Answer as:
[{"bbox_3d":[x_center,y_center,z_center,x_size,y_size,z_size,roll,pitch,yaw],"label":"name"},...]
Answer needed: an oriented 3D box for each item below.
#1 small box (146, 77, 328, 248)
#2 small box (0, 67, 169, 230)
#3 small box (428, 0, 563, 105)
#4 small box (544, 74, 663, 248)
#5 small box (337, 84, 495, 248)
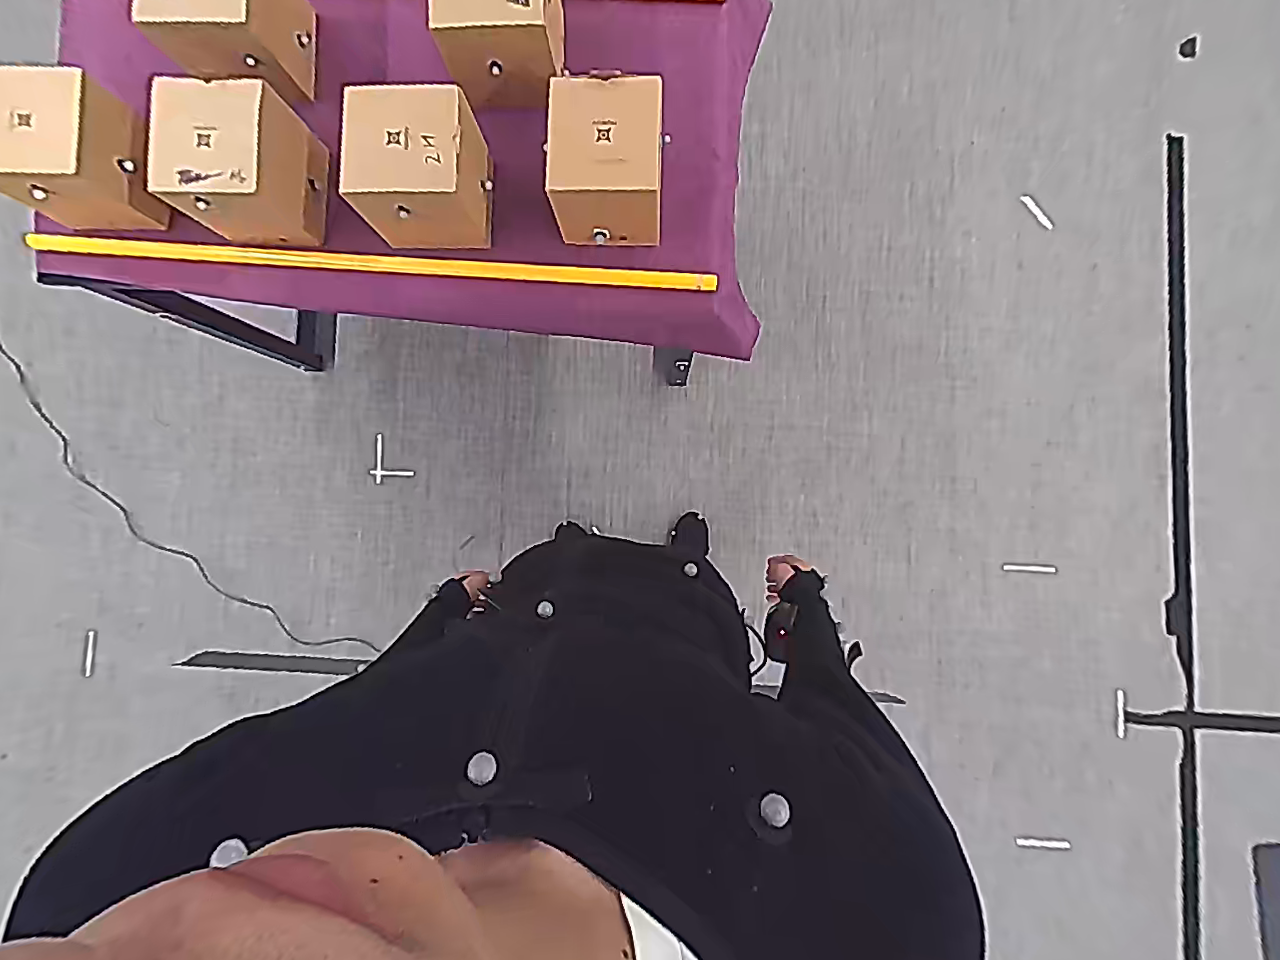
[{"bbox_3d":[-0.633,-0.502,0.872,0.168,0.176,0.179,2,87,3],"label":"small box"},{"bbox_3d":[-0.913,-0.527,0.880,0.179,0.176,0.168,1,87,1],"label":"small box"},{"bbox_3d":[-0.222,-0.741,0.870,0.179,0.176,0.168,0,89,3],"label":"small box"},{"bbox_3d":[-0.049,-0.494,0.854,0.168,0.176,0.179,1,86,3],"label":"small box"},{"bbox_3d":[-0.347,-0.488,0.862,0.179,0.176,0.168,1,87,2],"label":"small box"}]
